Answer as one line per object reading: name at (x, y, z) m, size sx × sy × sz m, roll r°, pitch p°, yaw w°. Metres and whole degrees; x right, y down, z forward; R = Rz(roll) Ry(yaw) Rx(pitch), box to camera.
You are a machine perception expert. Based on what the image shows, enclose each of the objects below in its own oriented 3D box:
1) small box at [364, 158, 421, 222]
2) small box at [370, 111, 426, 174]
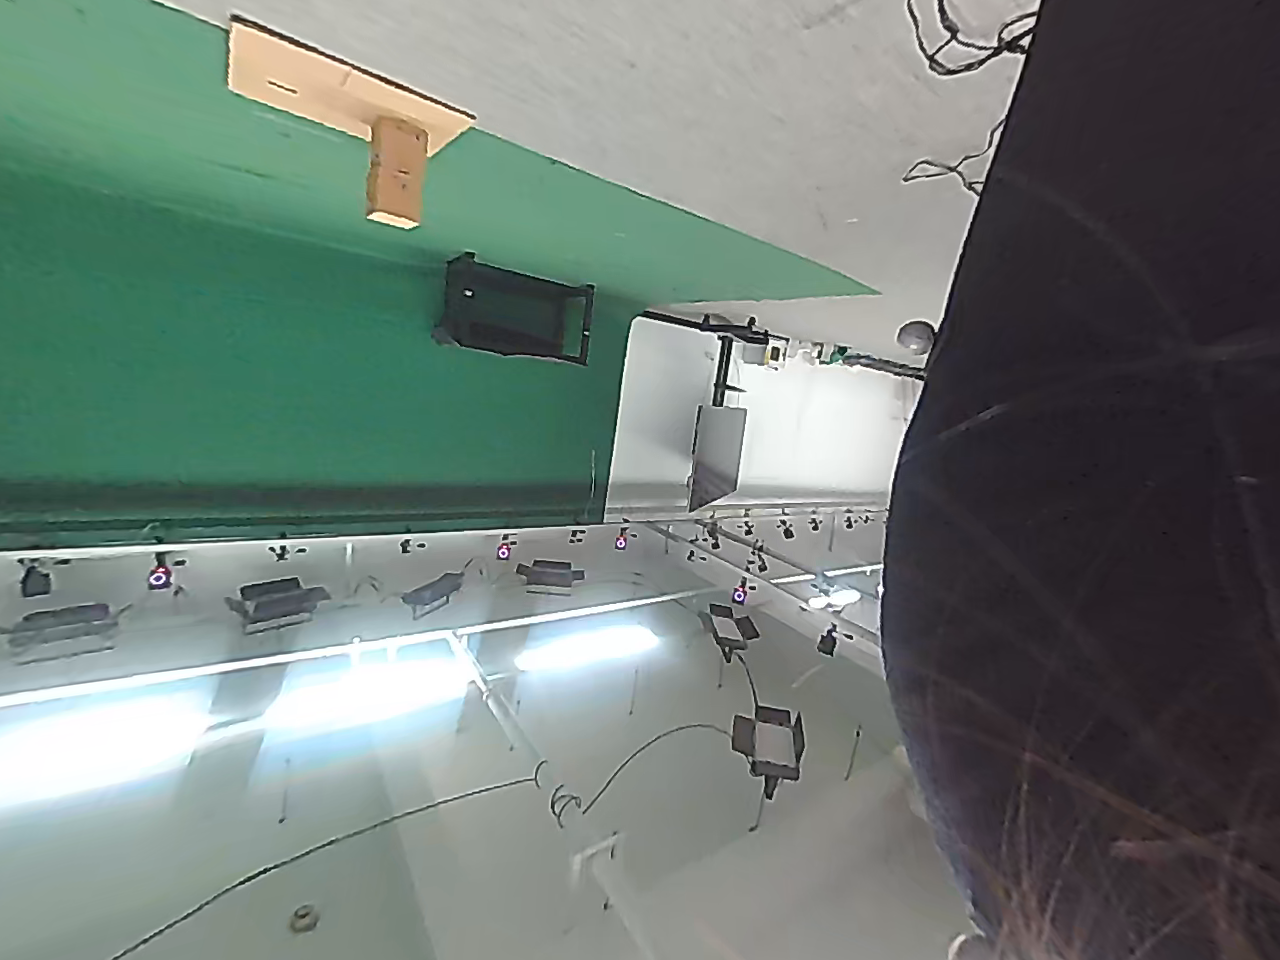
small box at (-0.972, -1.136, 2.124) m, size 0.168 × 0.176 × 0.179 m, roll -1°, pitch -166°, yaw -40°
small box at (-0.937, -1.291, 2.088) m, size 0.168 × 0.176 × 0.179 m, roll -1°, pitch -165°, yaw -39°
